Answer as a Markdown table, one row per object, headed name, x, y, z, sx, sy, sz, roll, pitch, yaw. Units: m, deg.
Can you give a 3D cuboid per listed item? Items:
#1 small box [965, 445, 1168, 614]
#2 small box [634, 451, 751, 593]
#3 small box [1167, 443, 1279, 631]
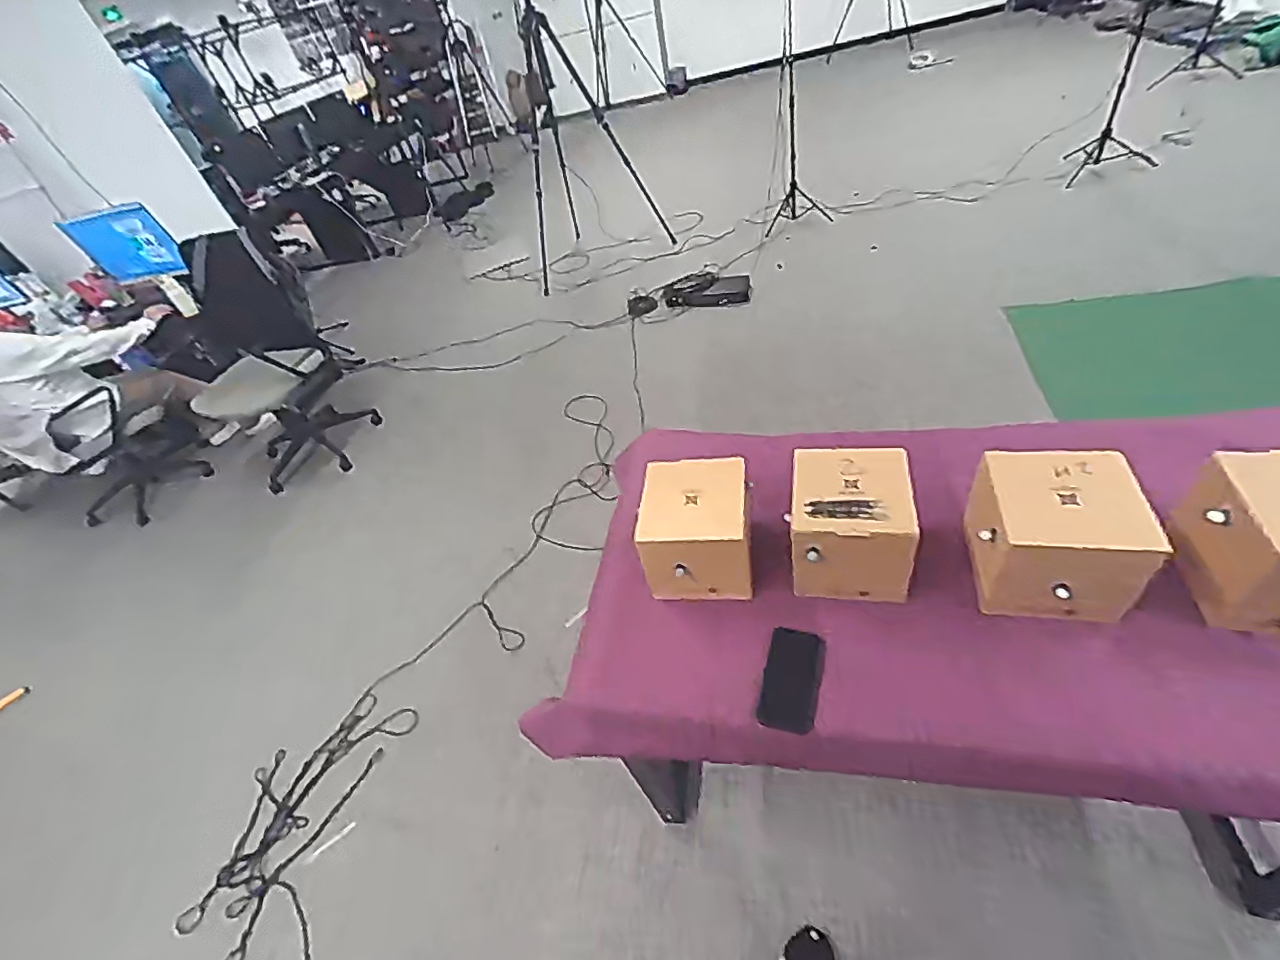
| name | x | y | z | sx | sy | sz | roll | pitch | yaw |
| --- | --- | --- | --- | --- | --- | --- | --- | --- | --- |
| small box | 0.576 | 0.069 | 0.762 | 0.168 | 0.176 | 0.179 | 2 | 46 | 18 |
| small box | 0.098 | 0.075 | 0.909 | 0.168 | 0.176 | 0.179 | -3 | 44 | 15 |
| small box | 0.824 | 0.073 | 0.681 | 0.168 | 0.176 | 0.179 | 2 | 46 | 21 |
